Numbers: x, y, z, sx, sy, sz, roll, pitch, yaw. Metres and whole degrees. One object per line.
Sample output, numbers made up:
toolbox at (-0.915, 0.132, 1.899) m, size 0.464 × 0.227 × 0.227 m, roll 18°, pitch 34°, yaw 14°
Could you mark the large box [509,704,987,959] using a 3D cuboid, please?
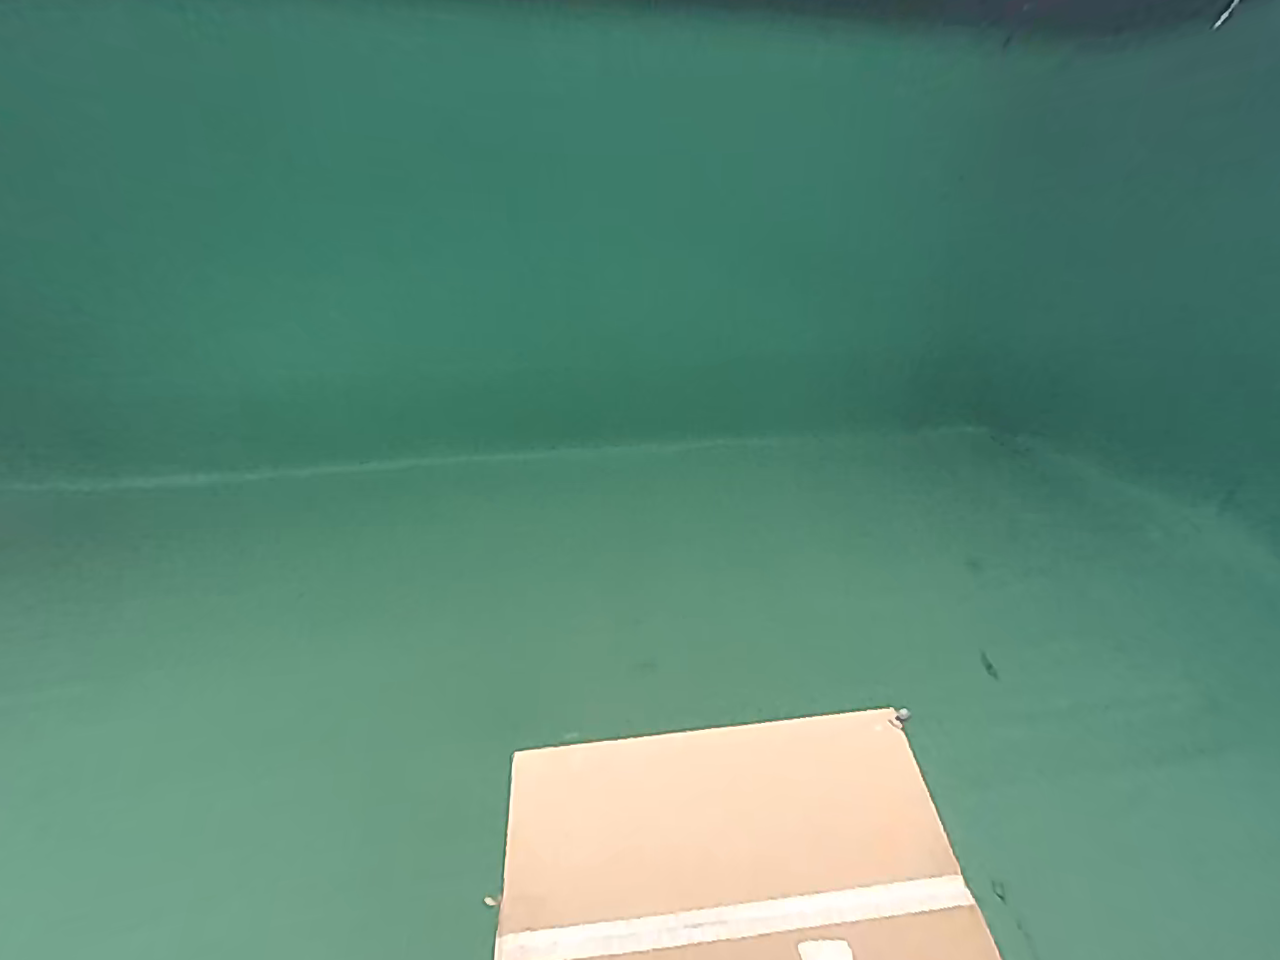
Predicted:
large box at (0.088, 0.478, 0.583) m, size 0.408 × 0.320 × 0.320 m, roll -6°, pitch 47°, yaw -2°
